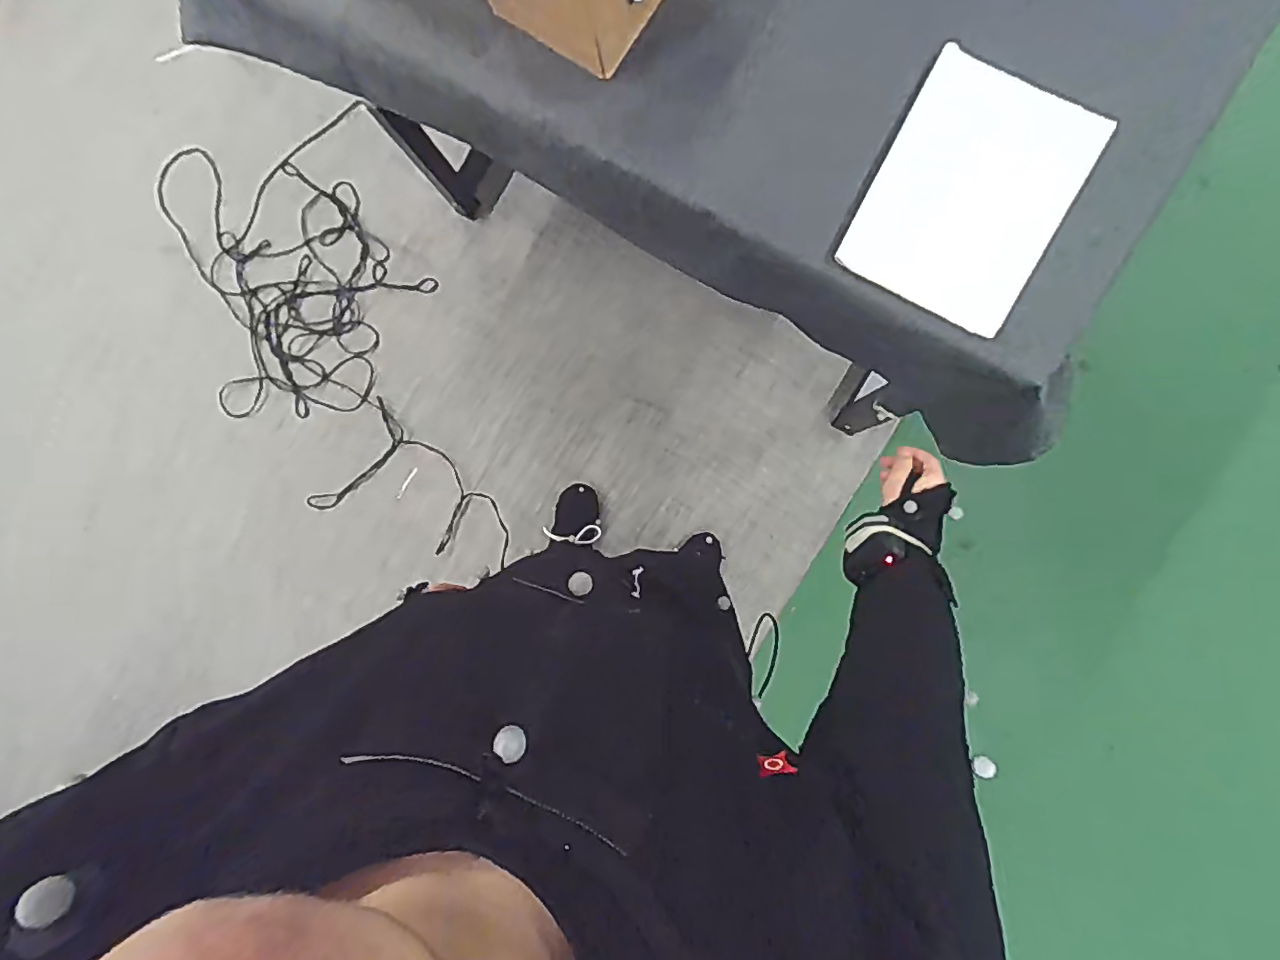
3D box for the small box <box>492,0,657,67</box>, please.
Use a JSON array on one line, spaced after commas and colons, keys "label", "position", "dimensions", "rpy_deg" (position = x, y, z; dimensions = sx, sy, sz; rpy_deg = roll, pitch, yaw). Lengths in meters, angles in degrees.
[{"label": "small box", "position": [-0.076, -0.596, 0.570], "dimensions": [0.179, 0.176, 0.168], "rpy_deg": [34, 92, 5]}]
